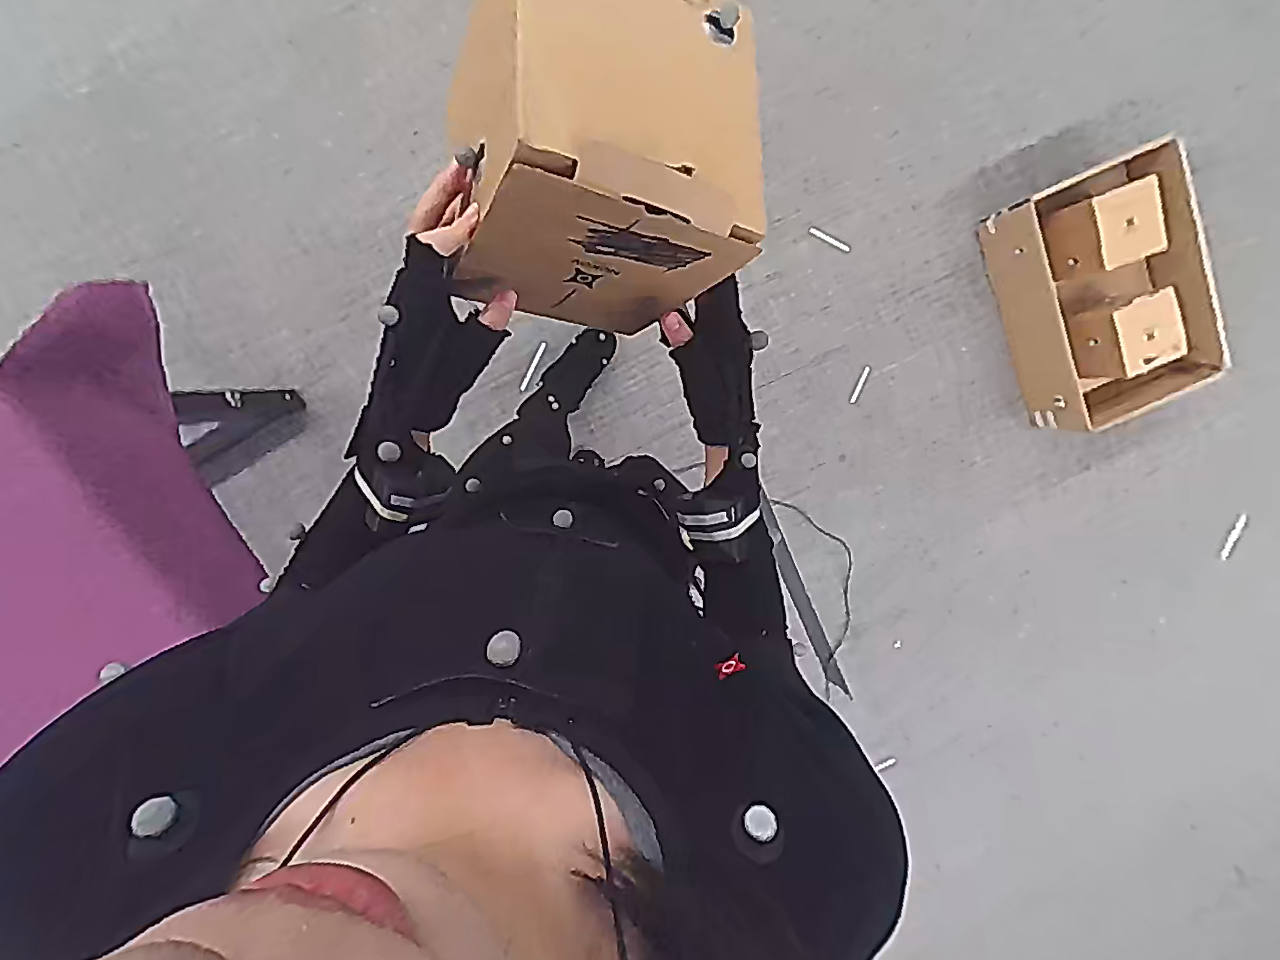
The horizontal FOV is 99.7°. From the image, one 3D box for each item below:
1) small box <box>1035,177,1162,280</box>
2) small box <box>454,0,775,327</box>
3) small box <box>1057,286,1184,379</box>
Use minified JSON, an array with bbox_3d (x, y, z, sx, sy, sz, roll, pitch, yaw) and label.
[{"bbox_3d":[1.151,-0.622,1.368,0.168,0.176,0.179,-22,101,-1],"label":"small box"},{"bbox_3d":[-0.029,-0.233,0.383,0.168,0.179,0.176,4,81,-31],"label":"small box"},{"bbox_3d":[1.248,-0.377,1.417,0.168,0.176,0.179,-24,98,1],"label":"small box"}]
